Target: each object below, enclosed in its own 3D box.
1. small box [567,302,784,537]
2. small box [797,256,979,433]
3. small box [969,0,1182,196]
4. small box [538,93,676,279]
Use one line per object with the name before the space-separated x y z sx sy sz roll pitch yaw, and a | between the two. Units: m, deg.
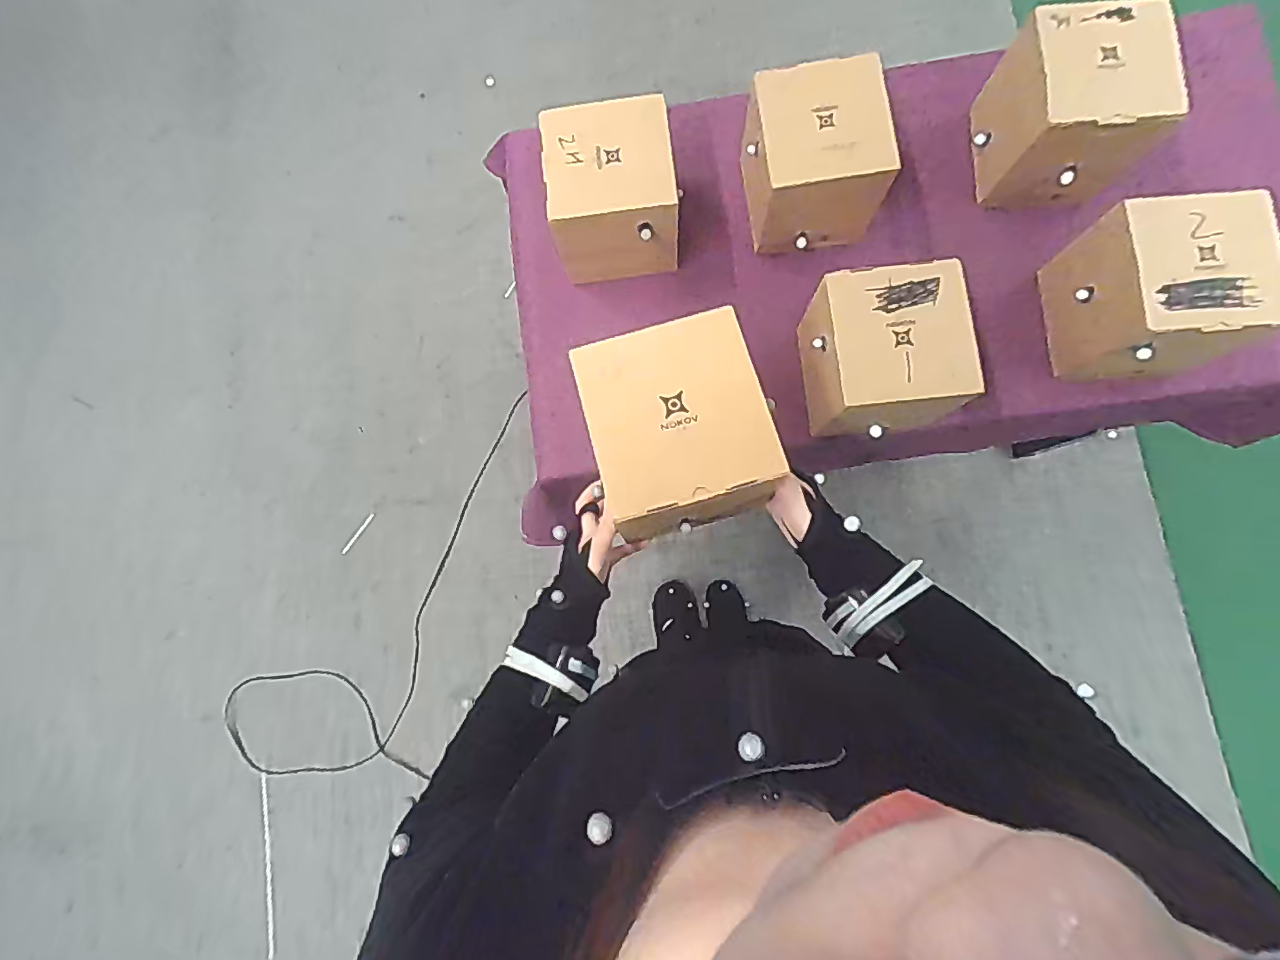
small box | 0.032 -0.051 0.570 0.168 0.176 0.179 -16 76 0
small box | 0.319 -0.172 0.733 0.168 0.176 0.179 -5 82 4
small box | 0.593 -0.525 0.761 0.168 0.176 0.179 -1 82 4
small box | -0.042 -0.421 0.799 0.179 0.176 0.168 -6 81 4
